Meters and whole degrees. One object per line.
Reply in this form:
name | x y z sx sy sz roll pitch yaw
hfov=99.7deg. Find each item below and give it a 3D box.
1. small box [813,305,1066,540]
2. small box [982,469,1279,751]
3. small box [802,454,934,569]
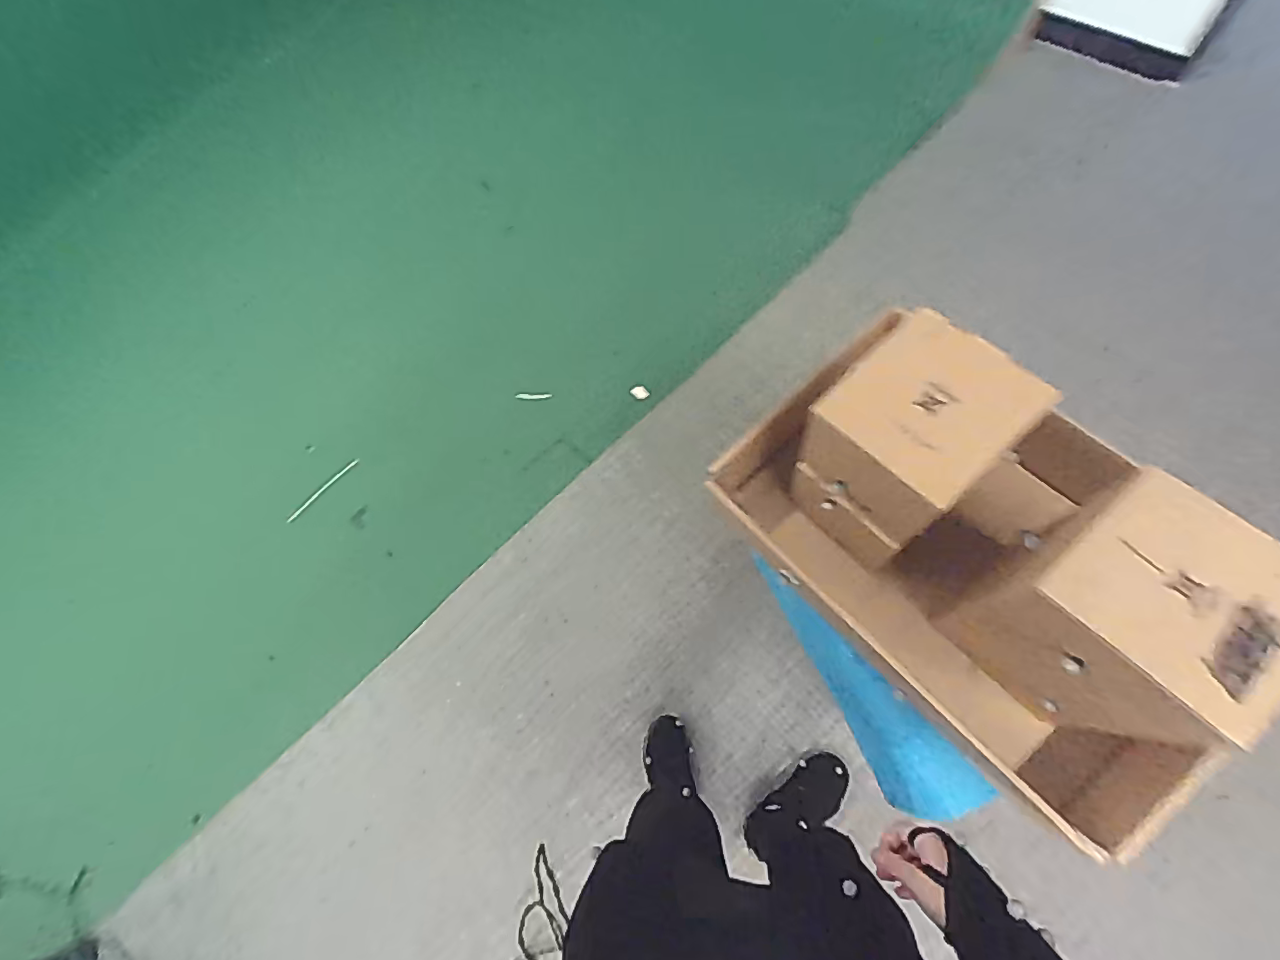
small box | 0.322 -0.056 0.628 0.179 0.176 0.168 -42 68 -4
small box | 0.485 0.124 0.523 0.168 0.176 0.179 -42 66 -5
small box | 0.352 0.002 0.777 0.179 0.176 0.168 -41 67 -5
